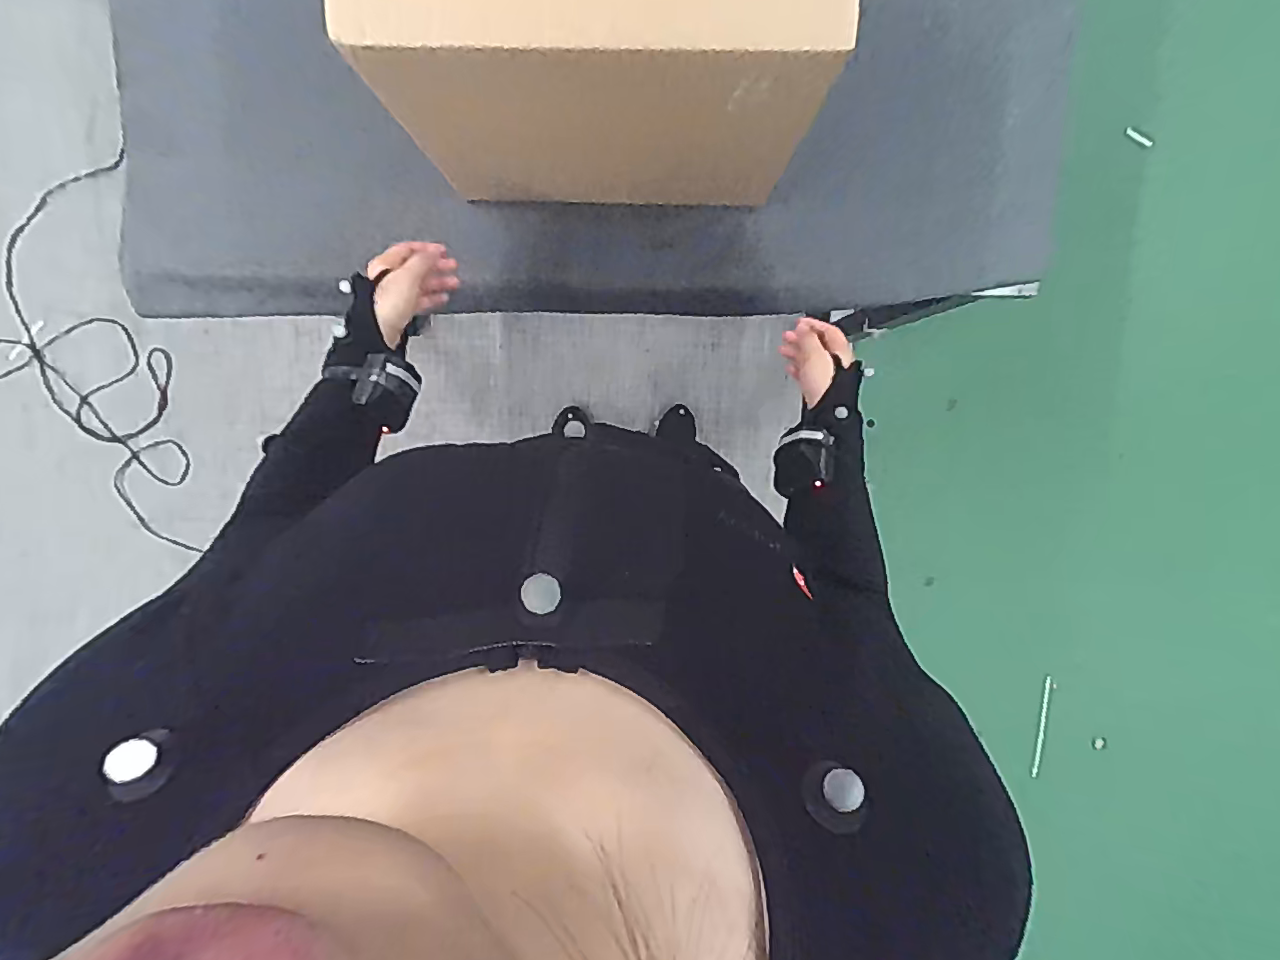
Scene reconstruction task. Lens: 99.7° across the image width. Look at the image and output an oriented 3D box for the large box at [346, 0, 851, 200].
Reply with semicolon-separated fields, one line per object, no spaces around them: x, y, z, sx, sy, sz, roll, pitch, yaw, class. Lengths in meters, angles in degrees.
-0.036;-0.508;0.557;0.408;0.320;0.320;0;98;-1;large box
